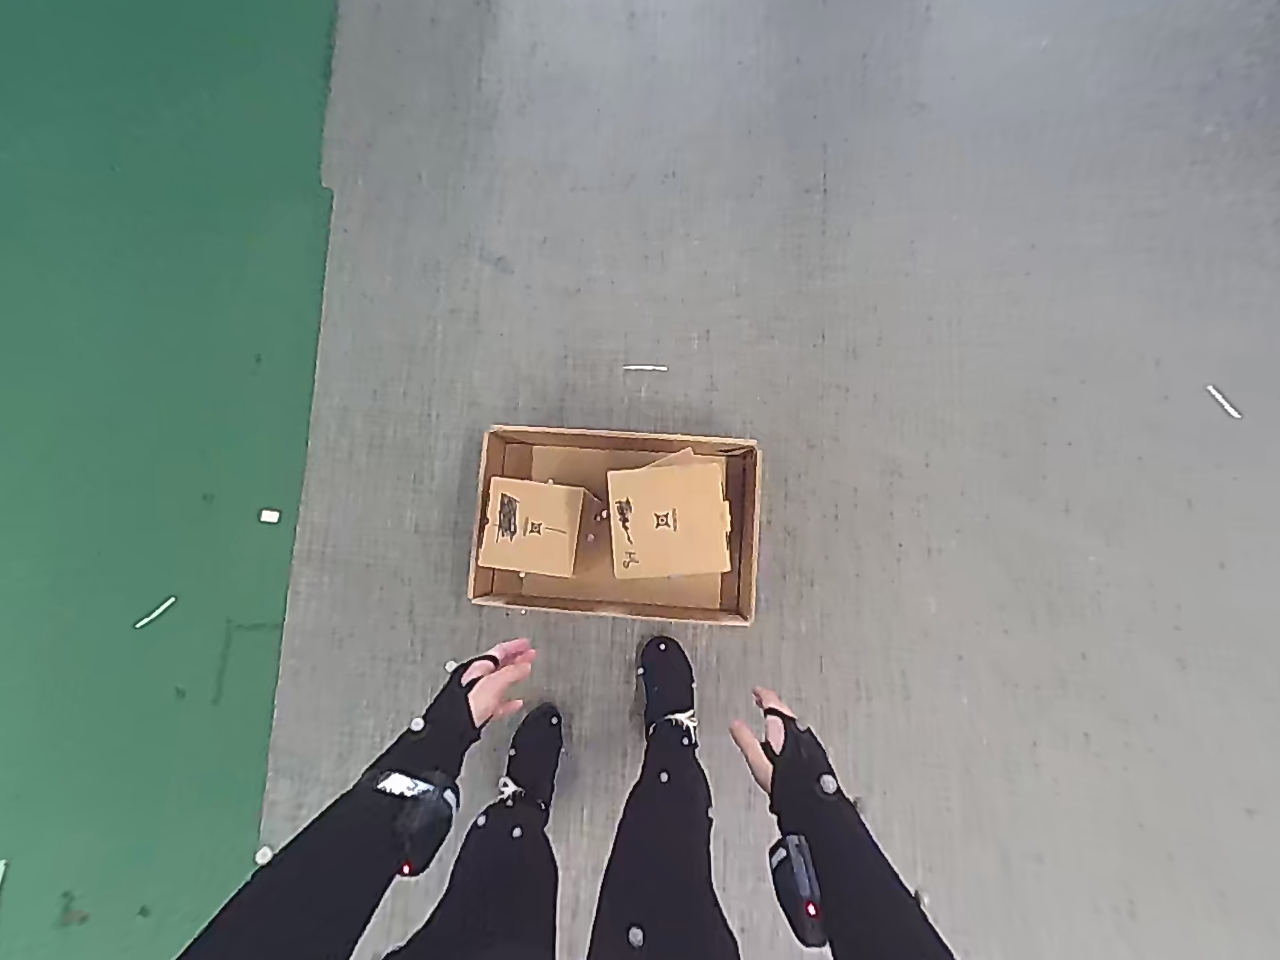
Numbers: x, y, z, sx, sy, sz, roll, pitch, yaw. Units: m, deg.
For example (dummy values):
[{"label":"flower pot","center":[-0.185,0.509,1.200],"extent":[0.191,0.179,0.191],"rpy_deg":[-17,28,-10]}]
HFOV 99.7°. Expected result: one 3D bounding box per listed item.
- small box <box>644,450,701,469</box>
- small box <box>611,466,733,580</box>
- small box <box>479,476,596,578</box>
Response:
[{"label":"small box","center":[0.060,0.060,1.048],"extent":[0.168,0.176,0.179],"rpy_deg":[-23,83,0]},{"label":"small box","center":[0.048,0.070,0.883],"extent":[0.179,0.176,0.168],"rpy_deg":[-4,84,2]},{"label":"small box","center":[-0.191,0.094,1.055],"extent":[0.179,0.176,0.168],"rpy_deg":[8,83,2]}]
